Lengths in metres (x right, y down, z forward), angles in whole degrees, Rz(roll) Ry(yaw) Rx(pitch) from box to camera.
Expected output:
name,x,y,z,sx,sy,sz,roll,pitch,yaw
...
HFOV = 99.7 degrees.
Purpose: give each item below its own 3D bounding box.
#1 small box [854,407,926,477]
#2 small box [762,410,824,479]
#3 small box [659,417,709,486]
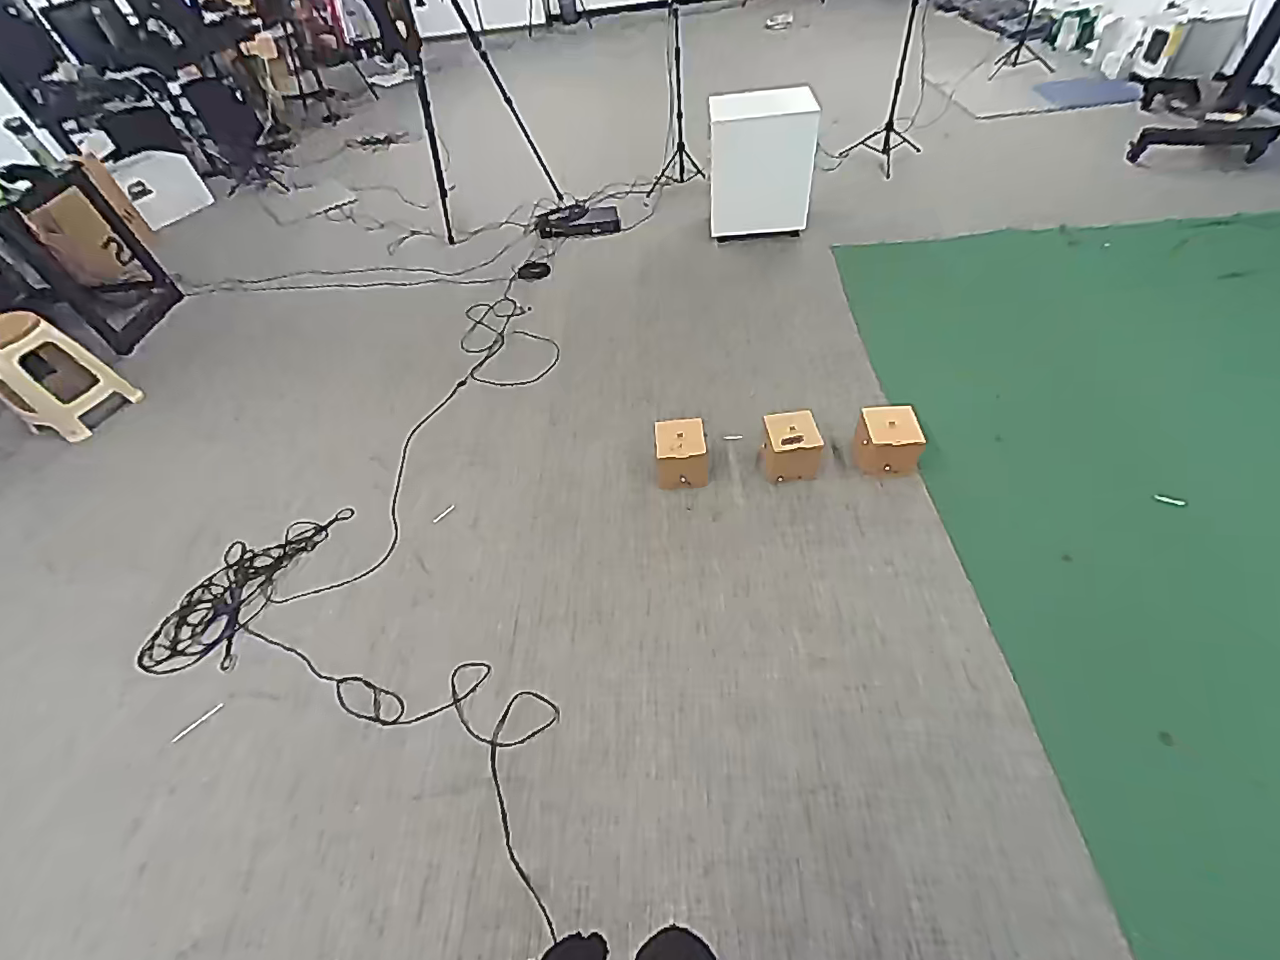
name,x,y,z,sx,sy,sz,roll,pitch,yaw
small box,0.850,-0.130,1.855,0.168,0.176,0.179,-2,50,6
small box,0.527,-0.116,1.879,0.168,0.176,0.179,-6,49,1
small box,0.153,-0.098,1.905,0.168,0.176,0.179,-5,50,4
